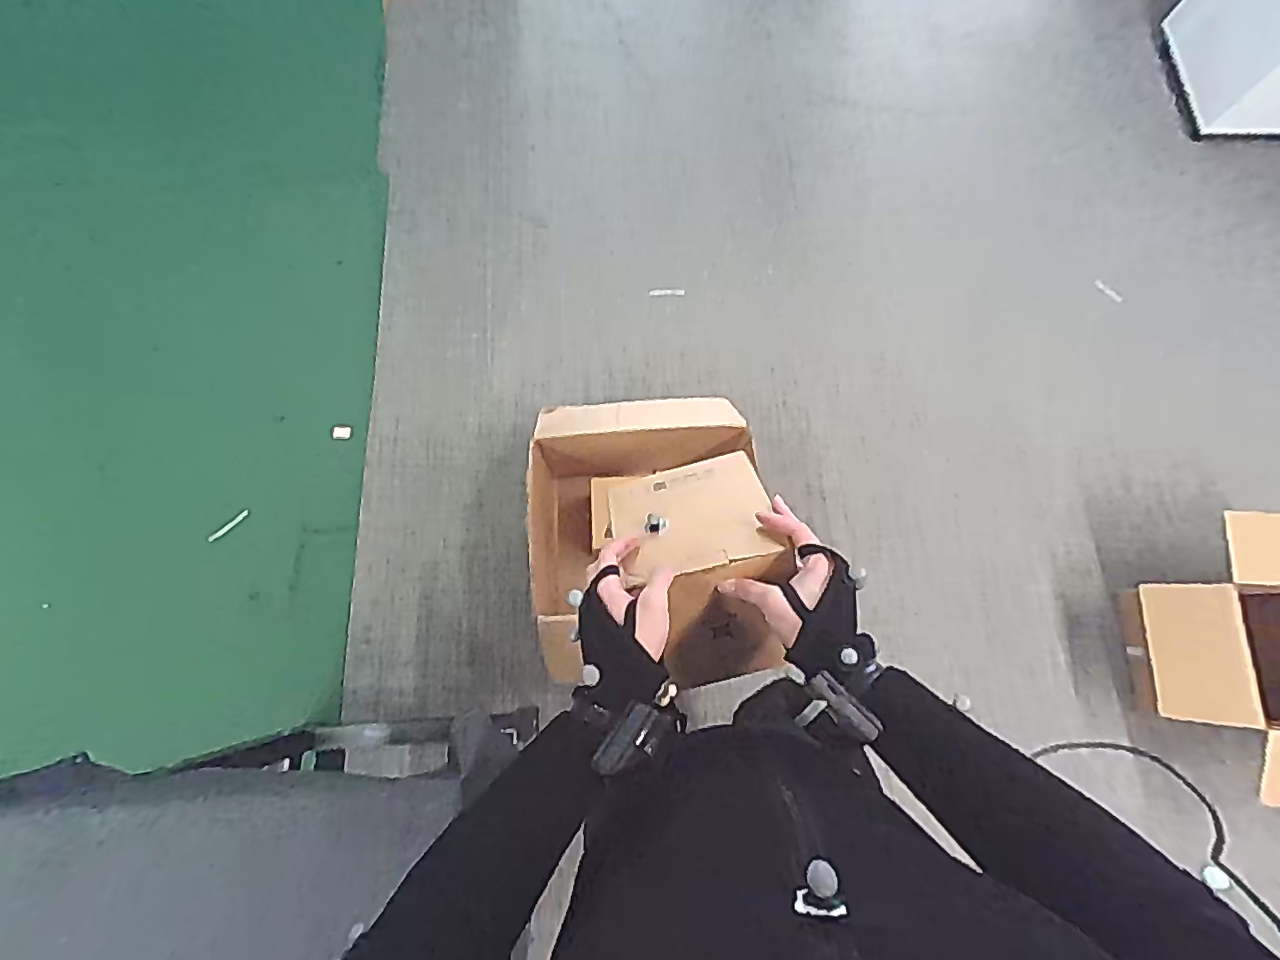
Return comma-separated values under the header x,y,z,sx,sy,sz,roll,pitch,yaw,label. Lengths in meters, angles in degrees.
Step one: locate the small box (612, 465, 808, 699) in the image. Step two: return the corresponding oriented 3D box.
x,y,z,sx,sy,sz,roll,pitch,yaw,label
0.072,0.102,0.594,0.168,0.179,0.176,-15,36,2,small box
